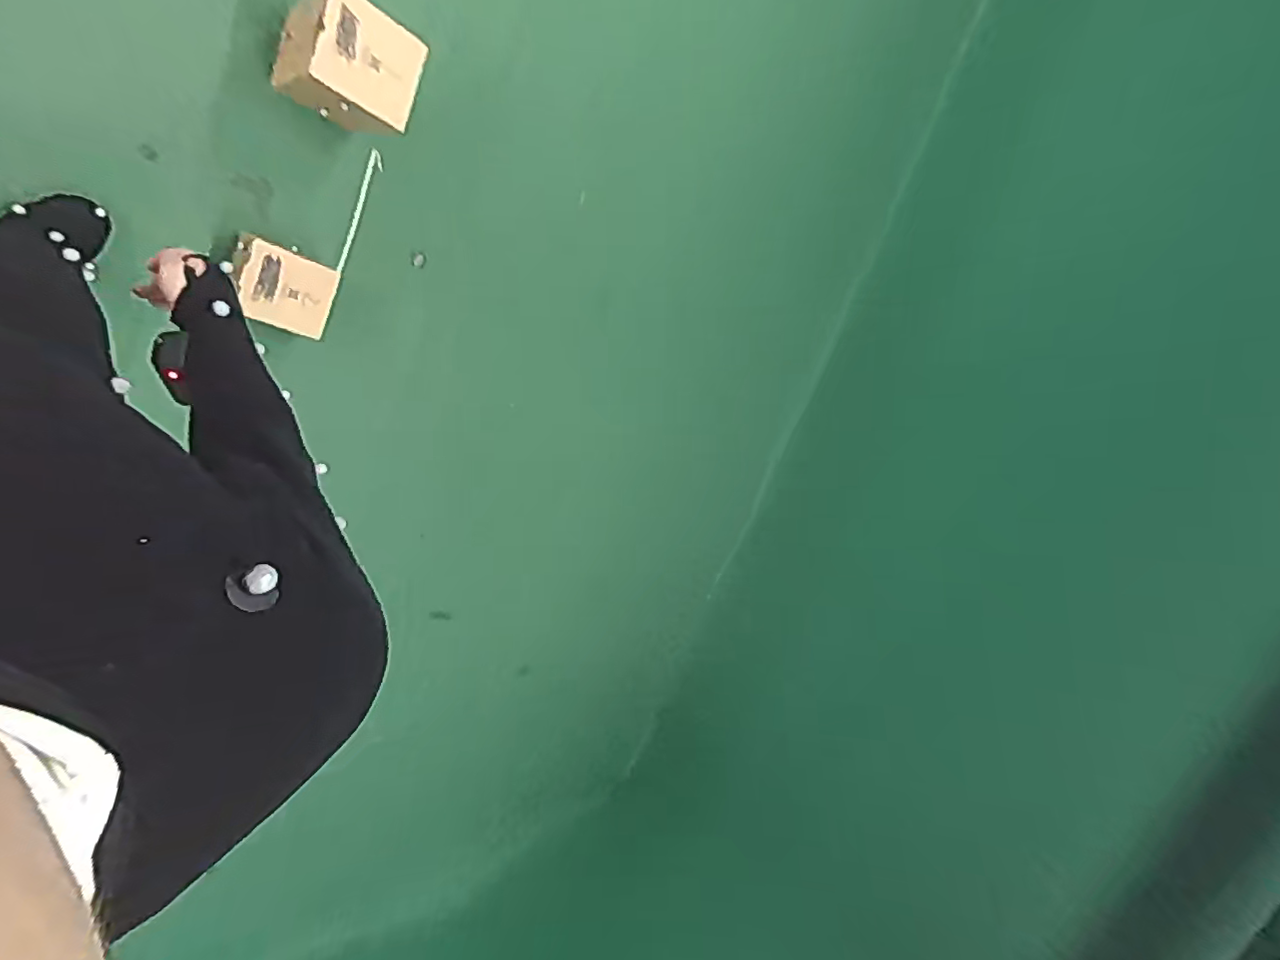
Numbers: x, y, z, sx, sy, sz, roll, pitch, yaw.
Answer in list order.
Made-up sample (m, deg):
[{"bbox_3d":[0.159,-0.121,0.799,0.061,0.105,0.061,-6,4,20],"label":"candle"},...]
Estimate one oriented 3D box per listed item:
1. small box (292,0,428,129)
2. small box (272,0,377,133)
[{"bbox_3d":[-0.554,-0.818,1.061,0.179,0.176,0.168,11,106,-48],"label":"small box"},{"bbox_3d":[-0.661,-0.884,1.167,0.179,0.176,0.168,11,105,-48],"label":"small box"}]
